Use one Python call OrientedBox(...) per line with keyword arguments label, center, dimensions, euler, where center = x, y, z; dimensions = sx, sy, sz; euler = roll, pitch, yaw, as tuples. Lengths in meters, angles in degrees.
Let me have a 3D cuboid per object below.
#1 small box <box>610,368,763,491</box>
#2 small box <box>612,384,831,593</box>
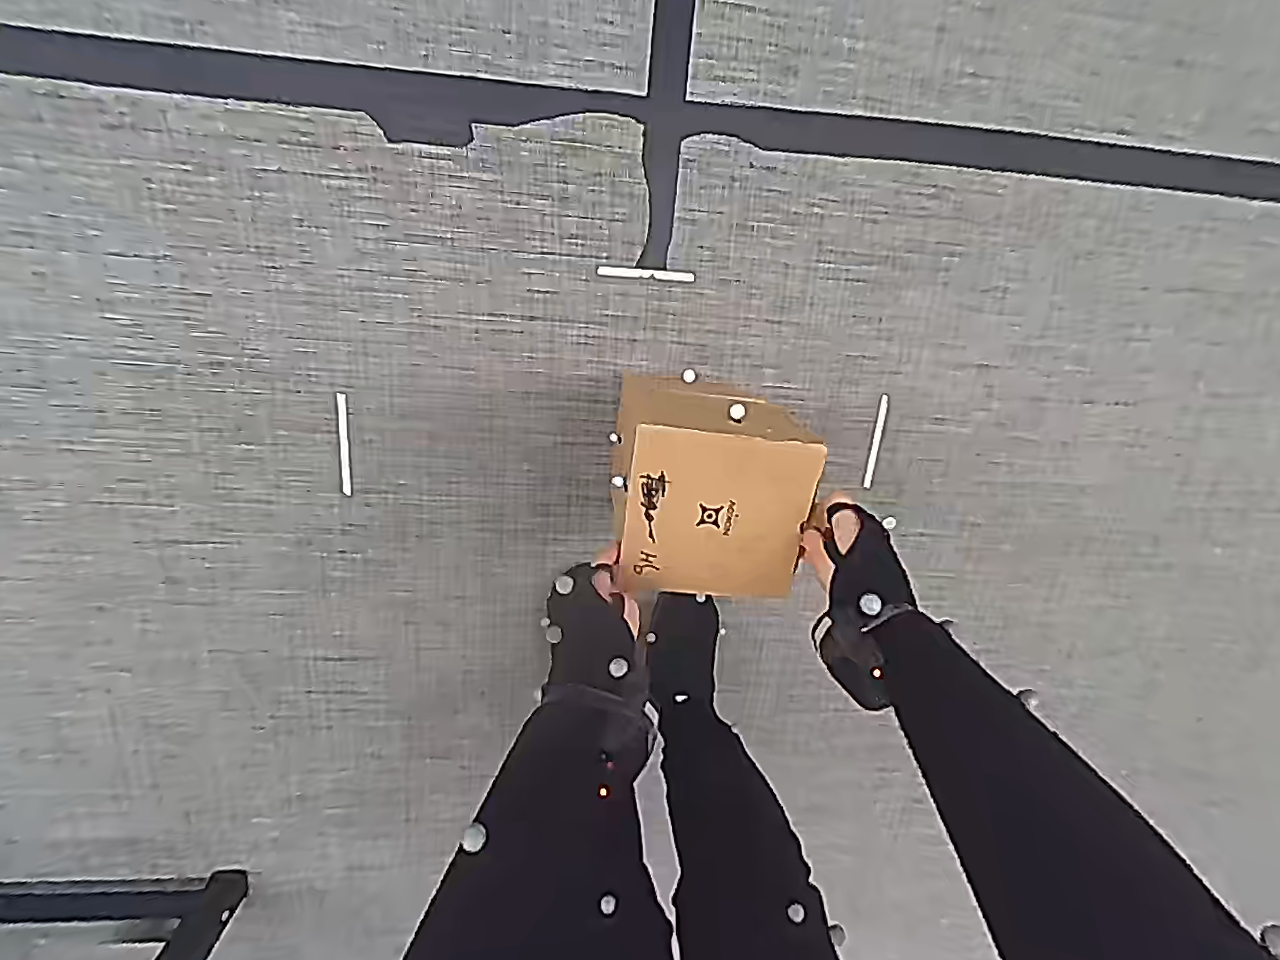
OrientedBox(label="small box", center=(0.052, -0.050, 0.735), dimensions=(0.168, 0.176, 0.179), euler=(5, 105, -8))
OrientedBox(label="small box", center=(0.068, 0.000, 0.572), dimensions=(0.179, 0.176, 0.168), euler=(6, 110, -7))
